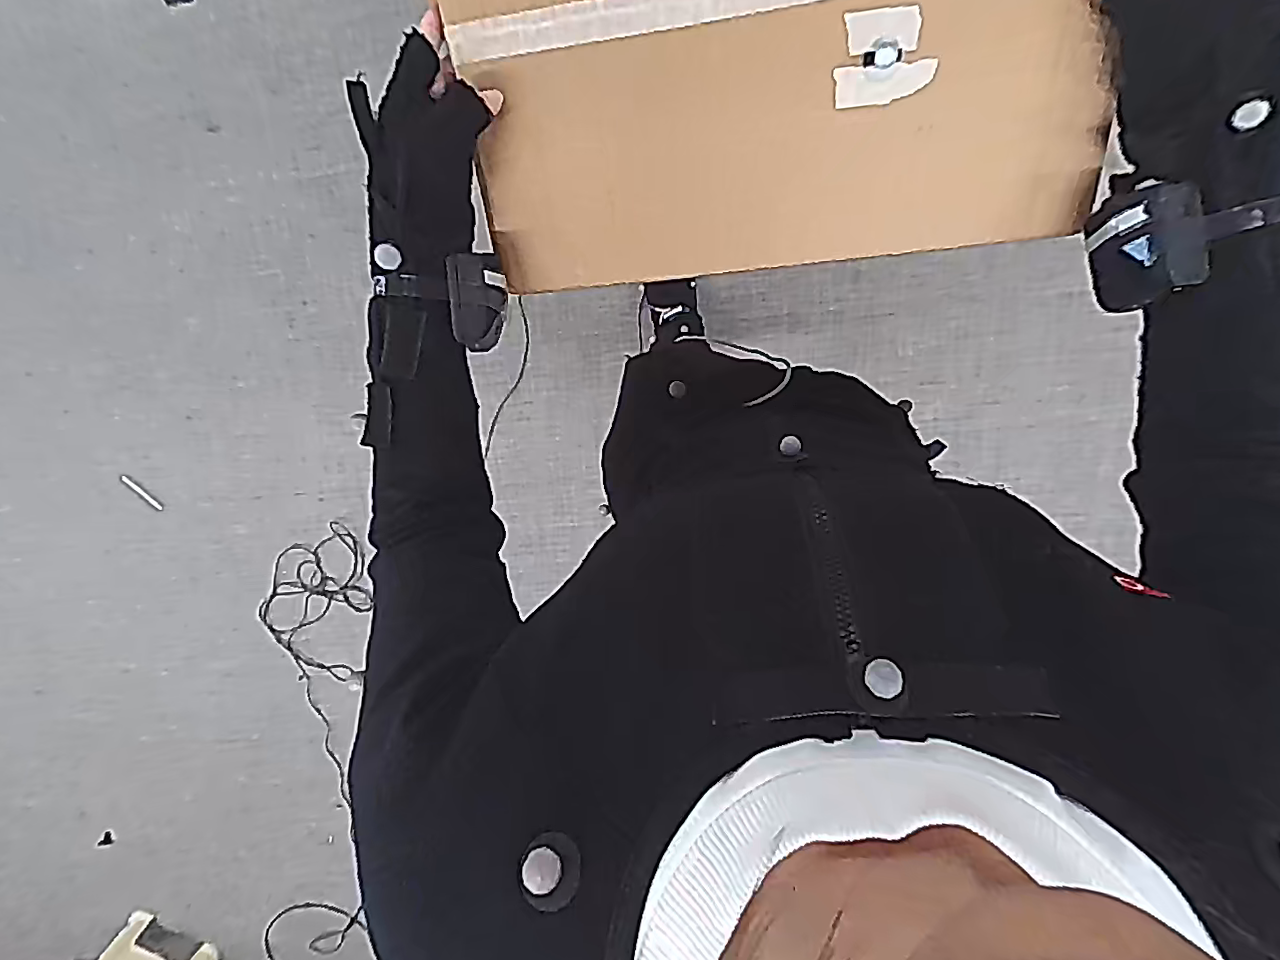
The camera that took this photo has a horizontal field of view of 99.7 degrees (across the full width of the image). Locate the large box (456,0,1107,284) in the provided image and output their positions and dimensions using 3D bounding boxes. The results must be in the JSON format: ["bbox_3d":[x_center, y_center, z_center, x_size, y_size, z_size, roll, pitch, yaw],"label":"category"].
[{"bbox_3d":[0.092,-0.368,0.469,0.408,0.320,0.320,-3,115,9],"label":"large box"}]
